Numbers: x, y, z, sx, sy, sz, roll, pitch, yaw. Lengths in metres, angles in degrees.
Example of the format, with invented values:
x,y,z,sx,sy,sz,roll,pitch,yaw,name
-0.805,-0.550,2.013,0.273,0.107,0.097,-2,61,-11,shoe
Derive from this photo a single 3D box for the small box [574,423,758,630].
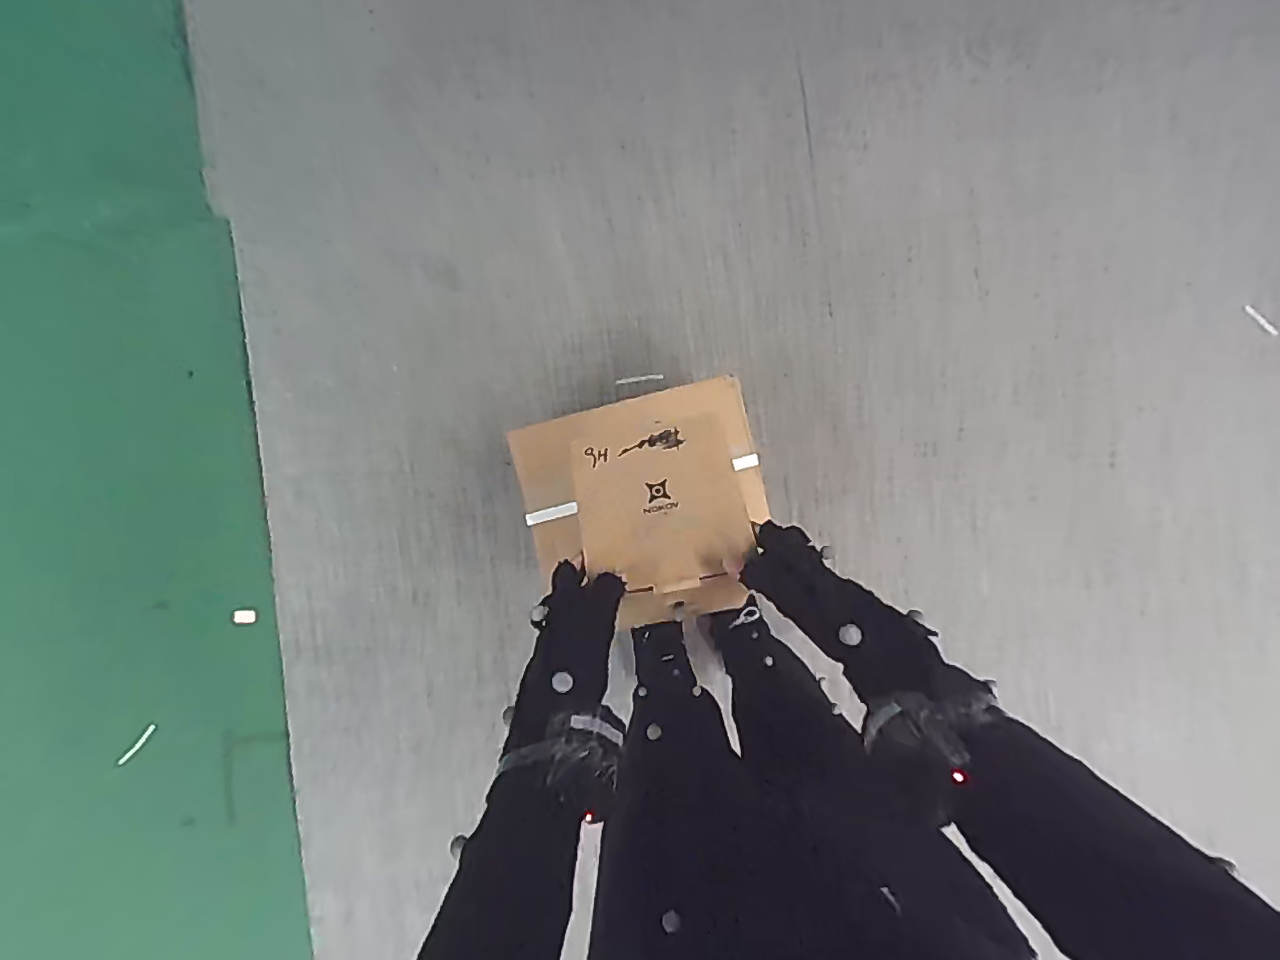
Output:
x,y,z,sx,sy,sz,roll,pitch,yaw,name
0.029,0.064,0.617,0.168,0.176,0.179,-11,62,0,small box
